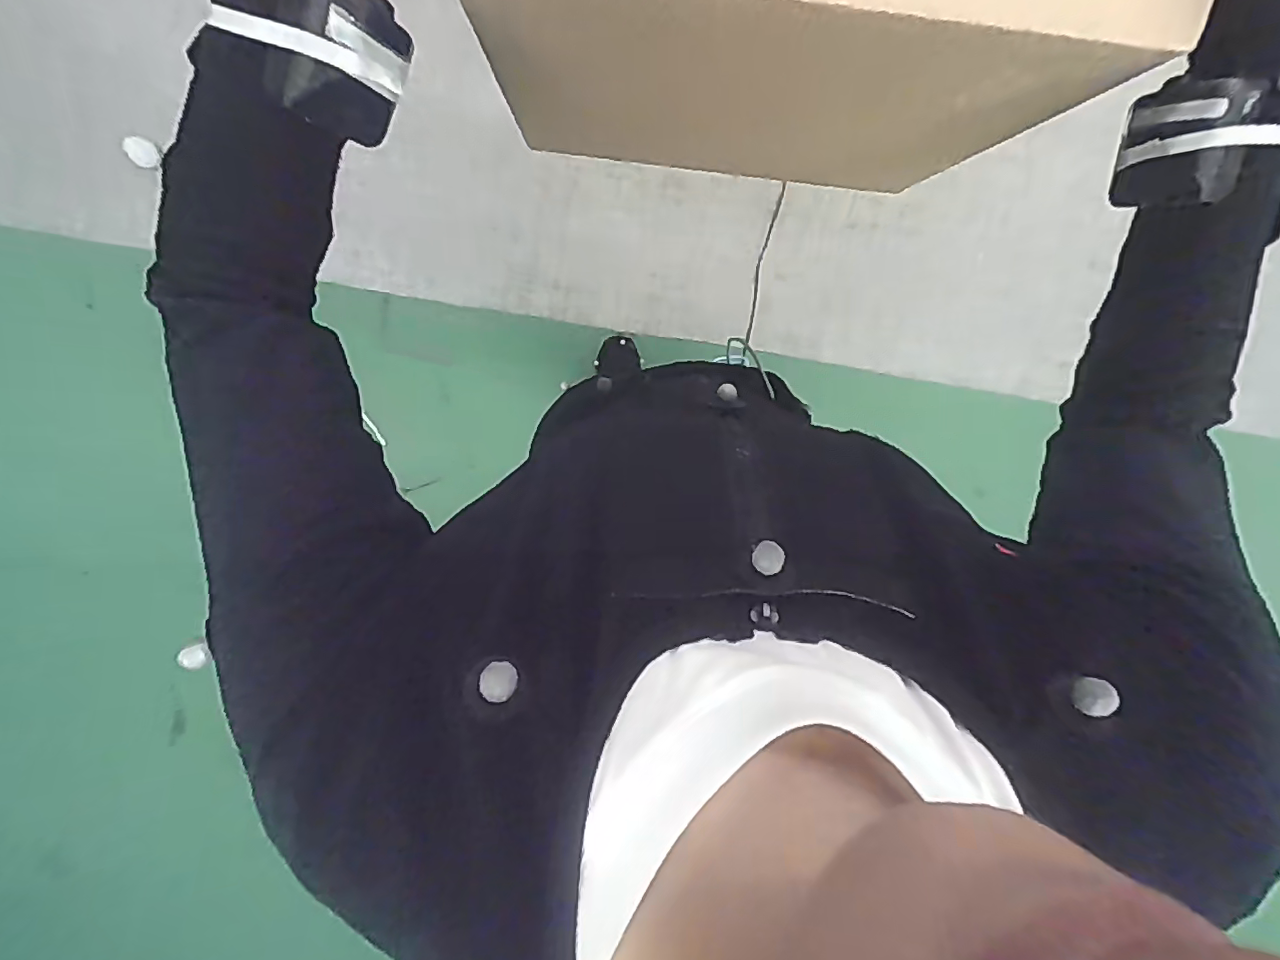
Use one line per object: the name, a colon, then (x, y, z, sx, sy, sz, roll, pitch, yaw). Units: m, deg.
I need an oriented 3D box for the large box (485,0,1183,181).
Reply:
large box: (0.104, -0.443, 0.395, 0.408, 0.320, 0.320, 4, 106, -5)
